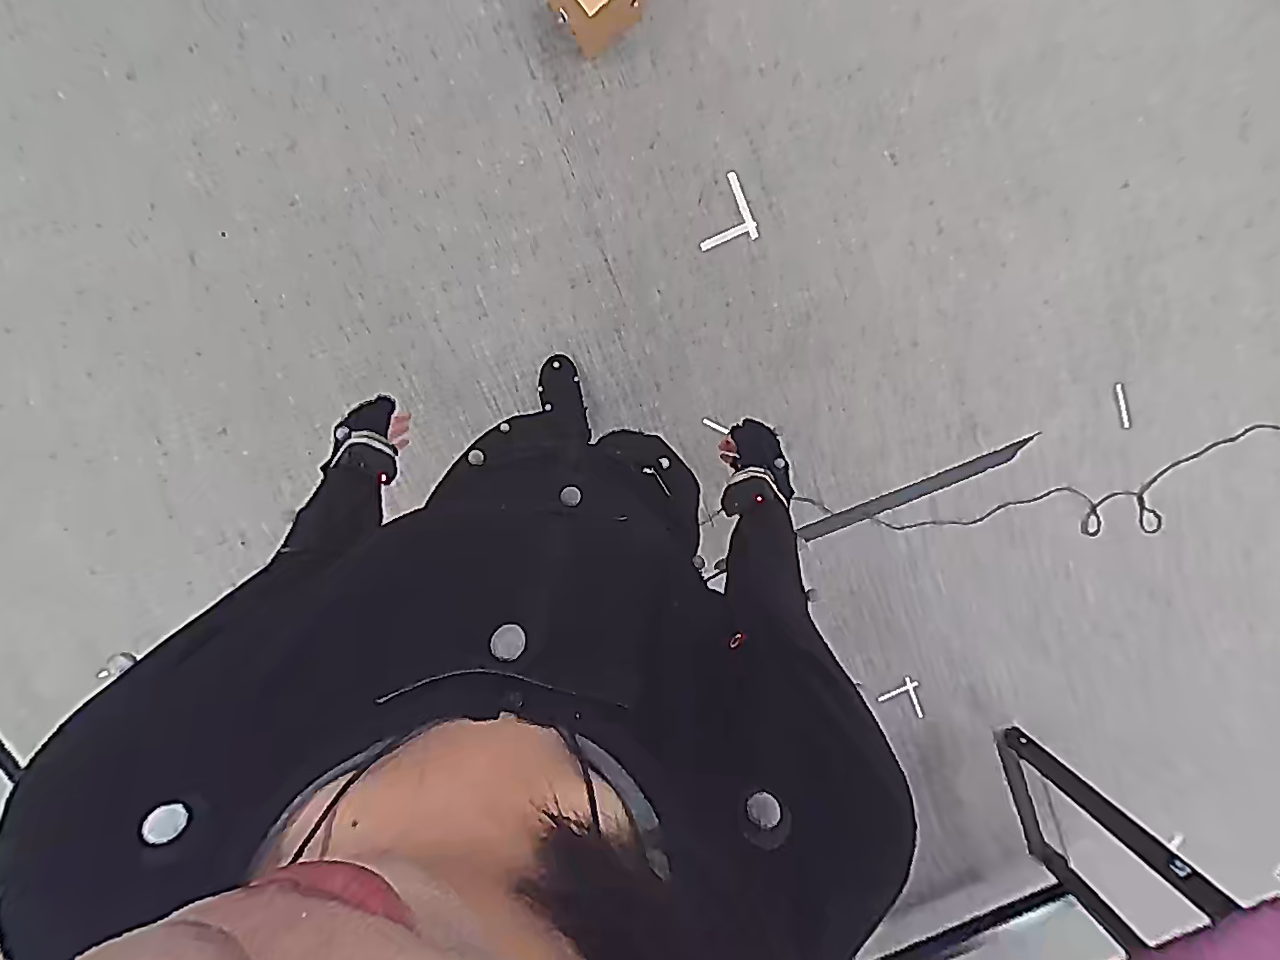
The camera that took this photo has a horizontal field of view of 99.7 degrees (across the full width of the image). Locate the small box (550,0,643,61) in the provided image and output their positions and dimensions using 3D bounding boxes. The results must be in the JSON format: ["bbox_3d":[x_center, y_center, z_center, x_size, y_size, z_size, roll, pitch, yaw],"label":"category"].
[{"bbox_3d":[-0.101,-1.126,1.233,0.179,0.176,0.168,-41,100,3],"label":"small box"}]
